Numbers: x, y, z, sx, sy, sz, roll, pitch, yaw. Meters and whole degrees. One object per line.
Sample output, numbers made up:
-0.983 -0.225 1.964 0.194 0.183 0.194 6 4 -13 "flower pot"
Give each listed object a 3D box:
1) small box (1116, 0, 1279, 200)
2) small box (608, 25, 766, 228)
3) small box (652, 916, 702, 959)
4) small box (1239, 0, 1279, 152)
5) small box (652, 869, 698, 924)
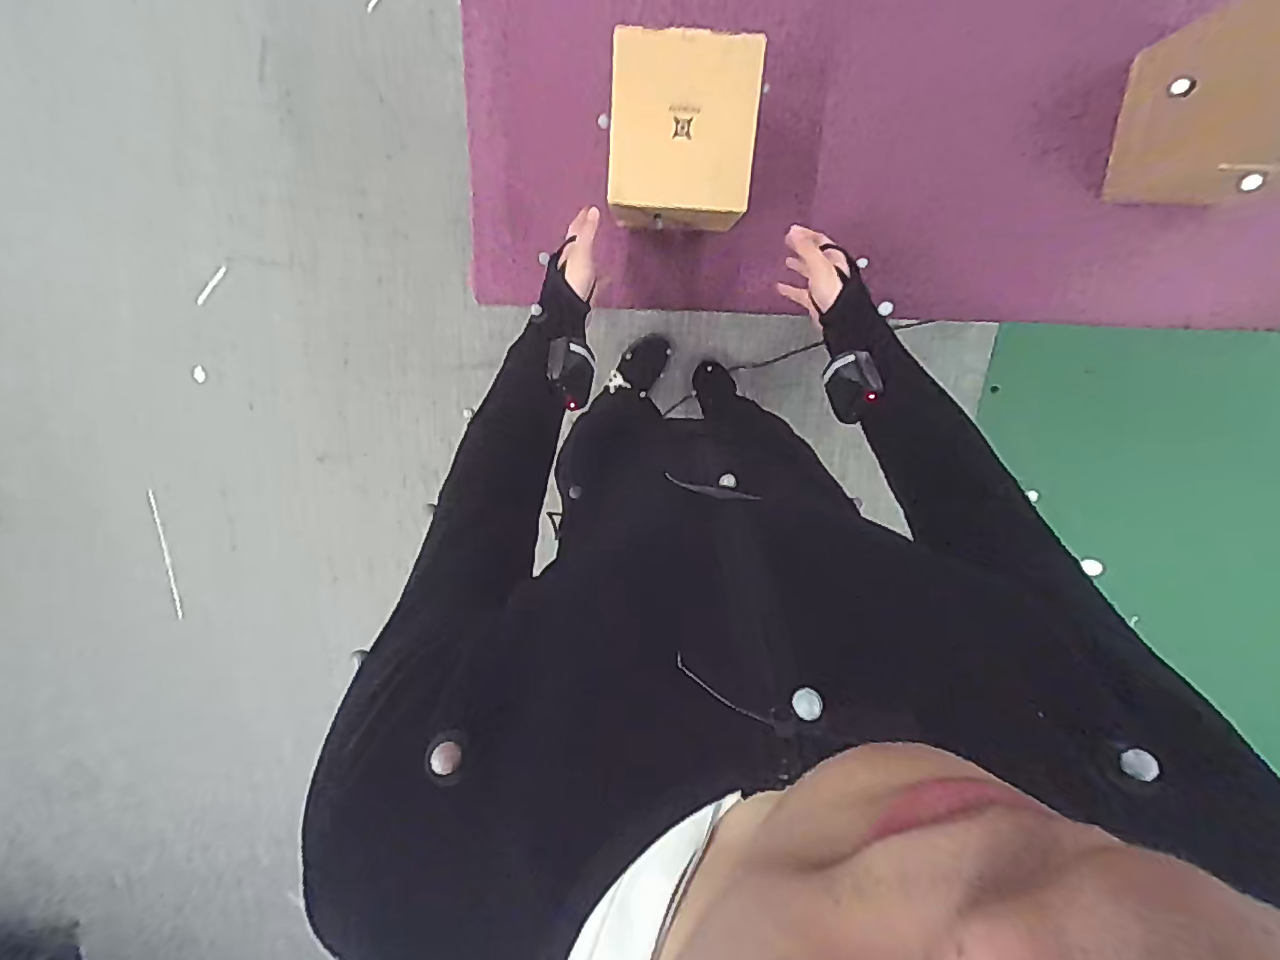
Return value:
0.722 -0.449 0.638 0.168 0.176 0.179 2 106 3 "small box"
0.053 -0.423 0.677 0.168 0.176 0.179 4 107 2 "small box"
0.126 1.652 1.870 0.168 0.176 0.179 0 107 2 "small box"
0.714 -0.404 0.479 0.168 0.176 0.179 3 106 1 "small box"
0.132 1.605 2.027 0.168 0.176 0.179 -3 106 3 "small box"
